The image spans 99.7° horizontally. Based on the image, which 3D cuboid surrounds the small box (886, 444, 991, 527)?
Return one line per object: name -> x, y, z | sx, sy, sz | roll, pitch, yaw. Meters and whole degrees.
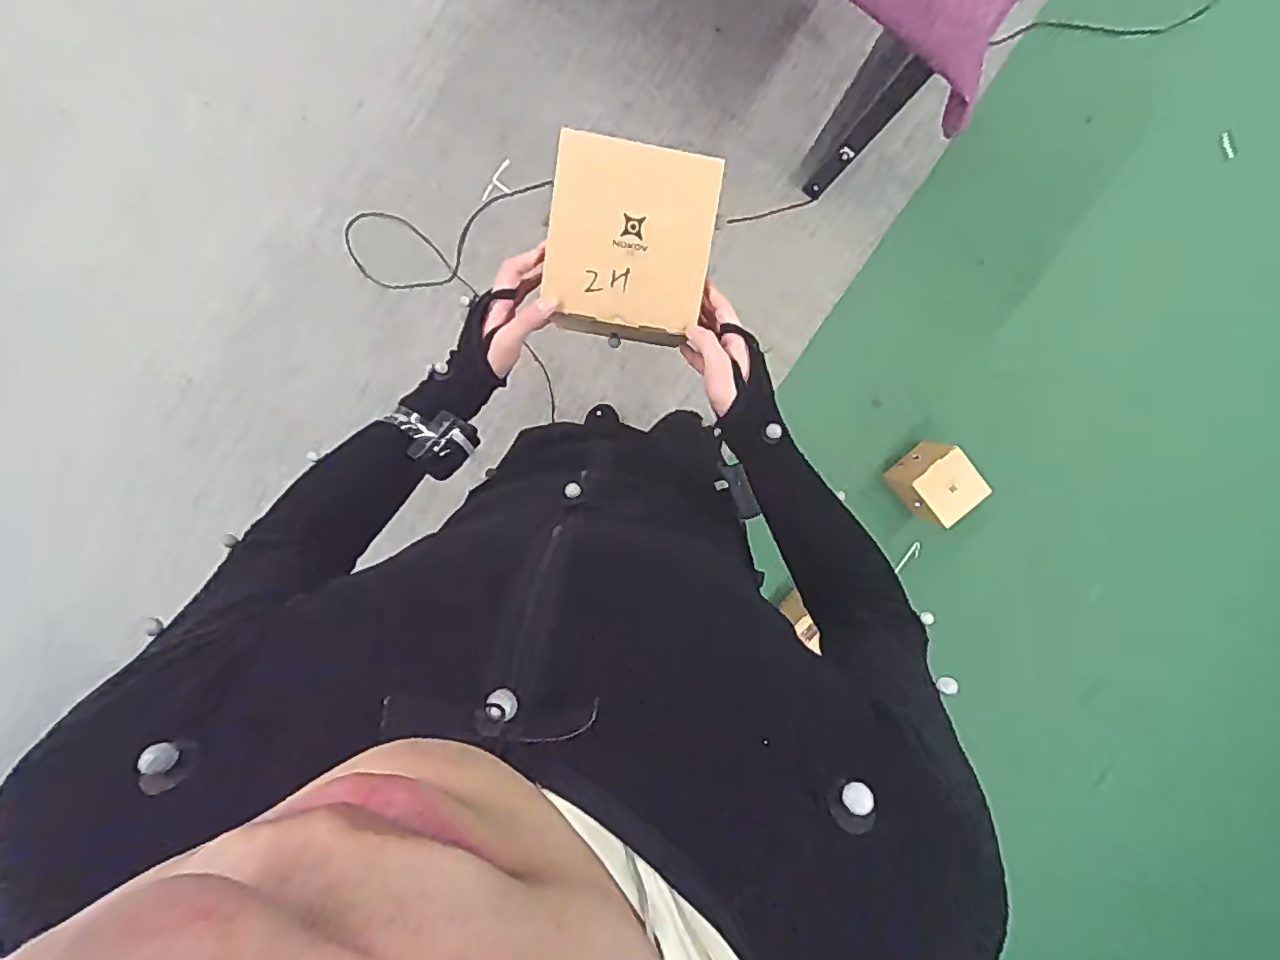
small box -> 0.868, 0.009, 1.589 | 0.168, 0.176, 0.179 | -41, 97, 3
